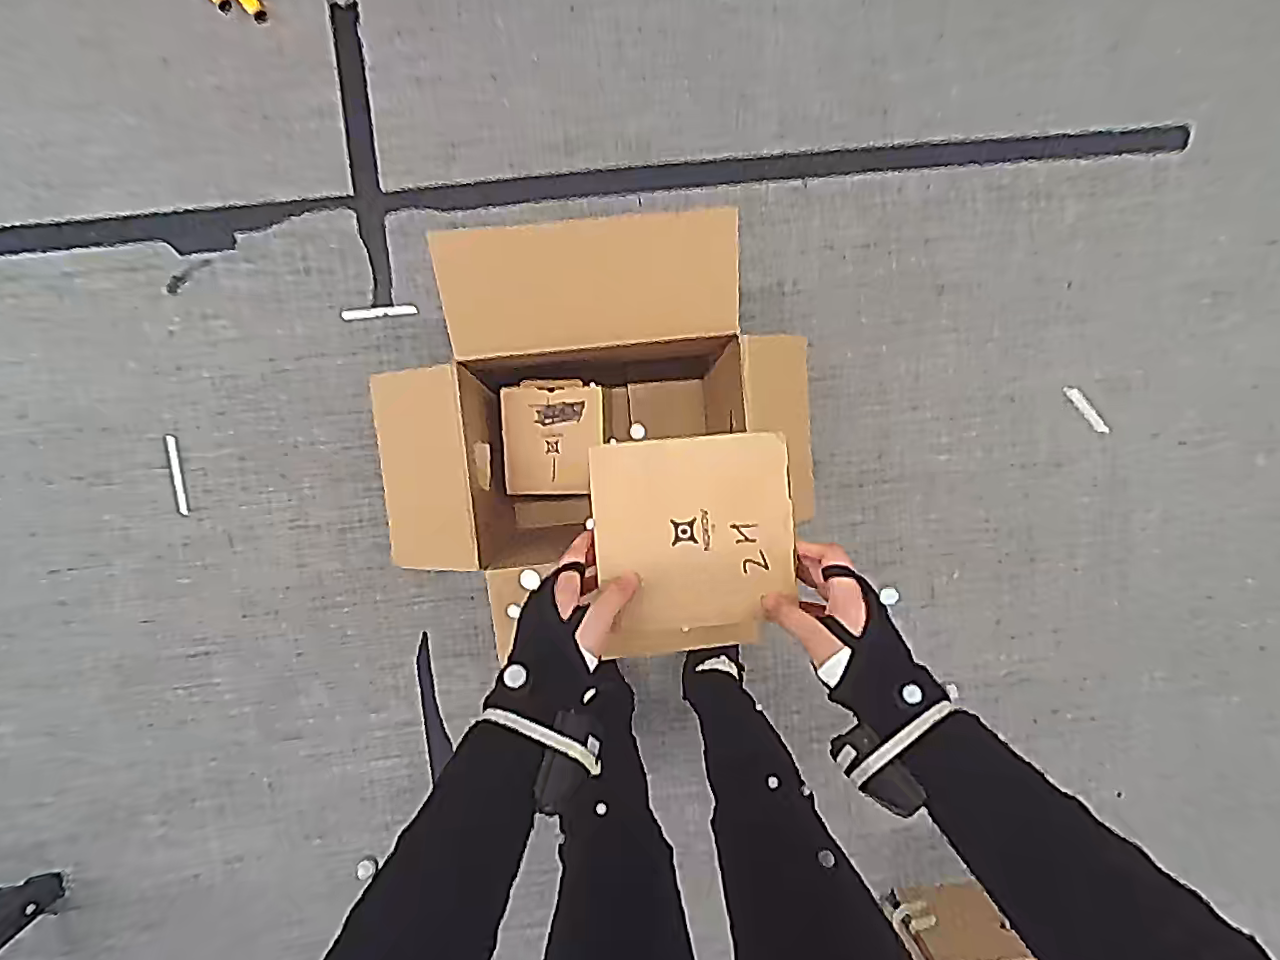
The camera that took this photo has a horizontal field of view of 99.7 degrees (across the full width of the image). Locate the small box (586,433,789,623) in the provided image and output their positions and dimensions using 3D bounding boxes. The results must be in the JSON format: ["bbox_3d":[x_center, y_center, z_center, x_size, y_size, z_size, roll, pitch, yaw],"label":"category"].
[{"bbox_3d":[0.044,0.043,0.563,0.179,0.176,0.168,-4,91,0],"label":"small box"}]
